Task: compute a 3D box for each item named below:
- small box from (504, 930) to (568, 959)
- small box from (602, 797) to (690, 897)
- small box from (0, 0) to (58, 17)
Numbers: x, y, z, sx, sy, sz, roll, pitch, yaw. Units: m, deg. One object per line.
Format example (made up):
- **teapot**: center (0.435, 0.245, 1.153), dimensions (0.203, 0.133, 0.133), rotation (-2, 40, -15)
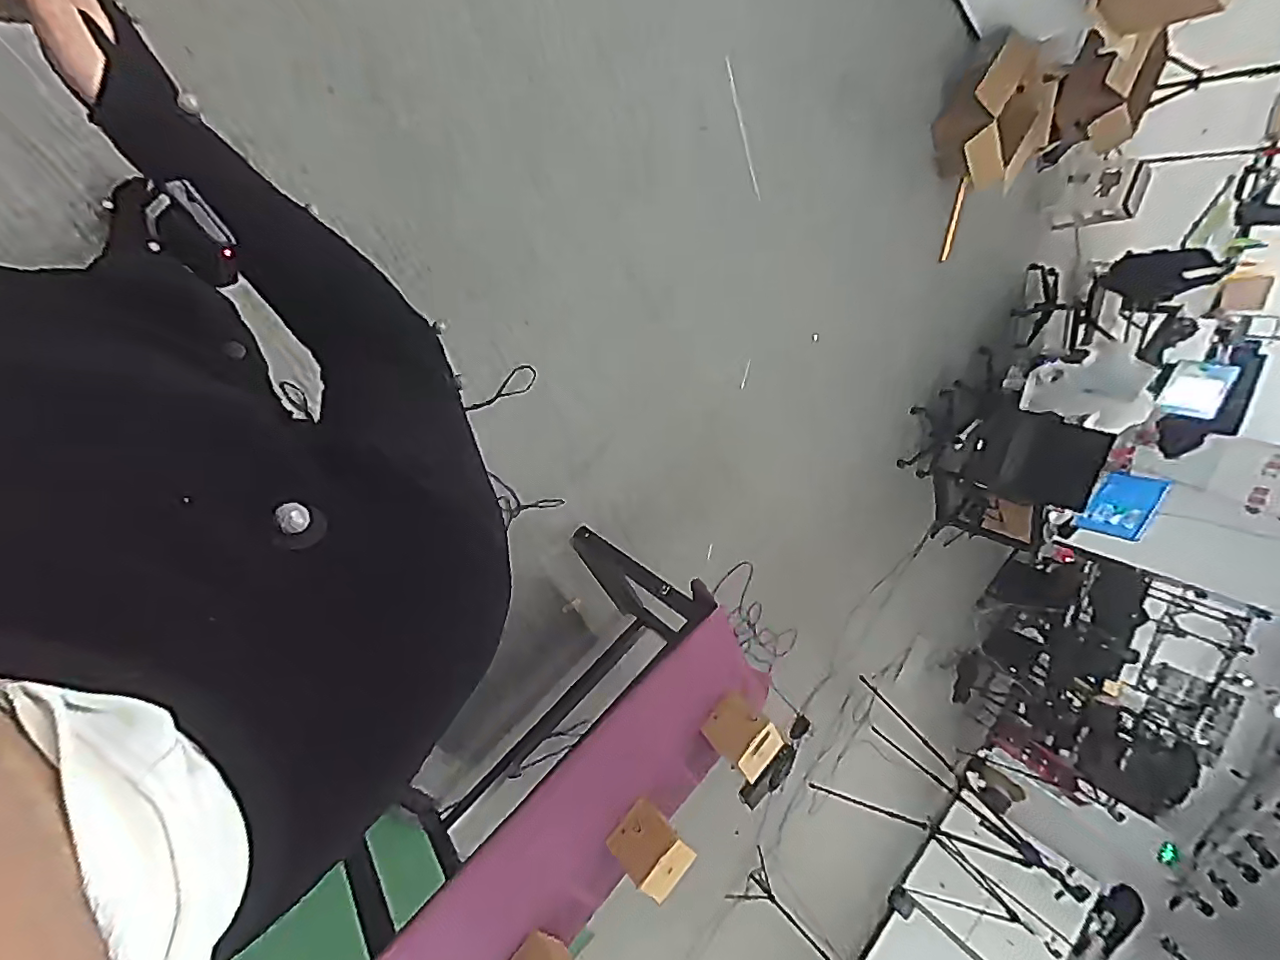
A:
- **small box**: center (-0.282, 1.390, 1.483), dimensions (0.168, 0.176, 0.179), rotation (-45, 131, -22)
- **small box**: center (0.017, 1.099, 1.627), dimensions (0.168, 0.176, 0.179), rotation (-43, 130, -18)
- **small box**: center (-0.539, -0.442, 0.354), dimensions (0.168, 0.176, 0.179), rotation (-18, 127, -32)
